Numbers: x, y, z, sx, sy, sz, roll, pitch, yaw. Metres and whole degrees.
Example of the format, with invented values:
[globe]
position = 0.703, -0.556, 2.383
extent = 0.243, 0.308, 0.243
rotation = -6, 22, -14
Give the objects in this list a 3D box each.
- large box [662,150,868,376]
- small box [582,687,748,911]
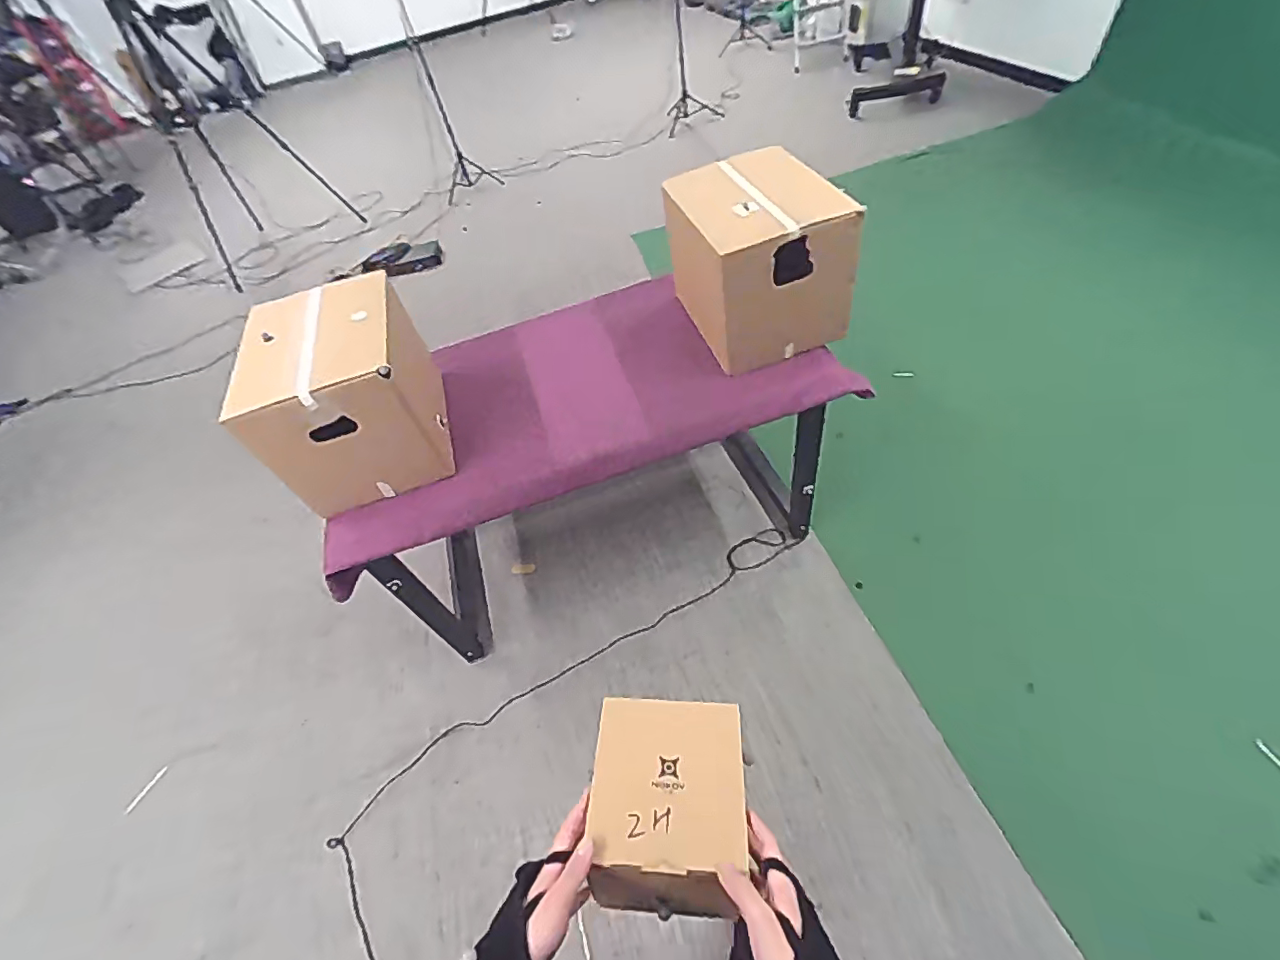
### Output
[large box]
position = 0.275, -0.522, 1.298
extent = 0.320, 0.320, 0.408
rotation = -19, 51, -2
[small box]
position = 0.032, 0.371, 0.636
extent = 0.168, 0.176, 0.179
rotation = 1, 40, 5
